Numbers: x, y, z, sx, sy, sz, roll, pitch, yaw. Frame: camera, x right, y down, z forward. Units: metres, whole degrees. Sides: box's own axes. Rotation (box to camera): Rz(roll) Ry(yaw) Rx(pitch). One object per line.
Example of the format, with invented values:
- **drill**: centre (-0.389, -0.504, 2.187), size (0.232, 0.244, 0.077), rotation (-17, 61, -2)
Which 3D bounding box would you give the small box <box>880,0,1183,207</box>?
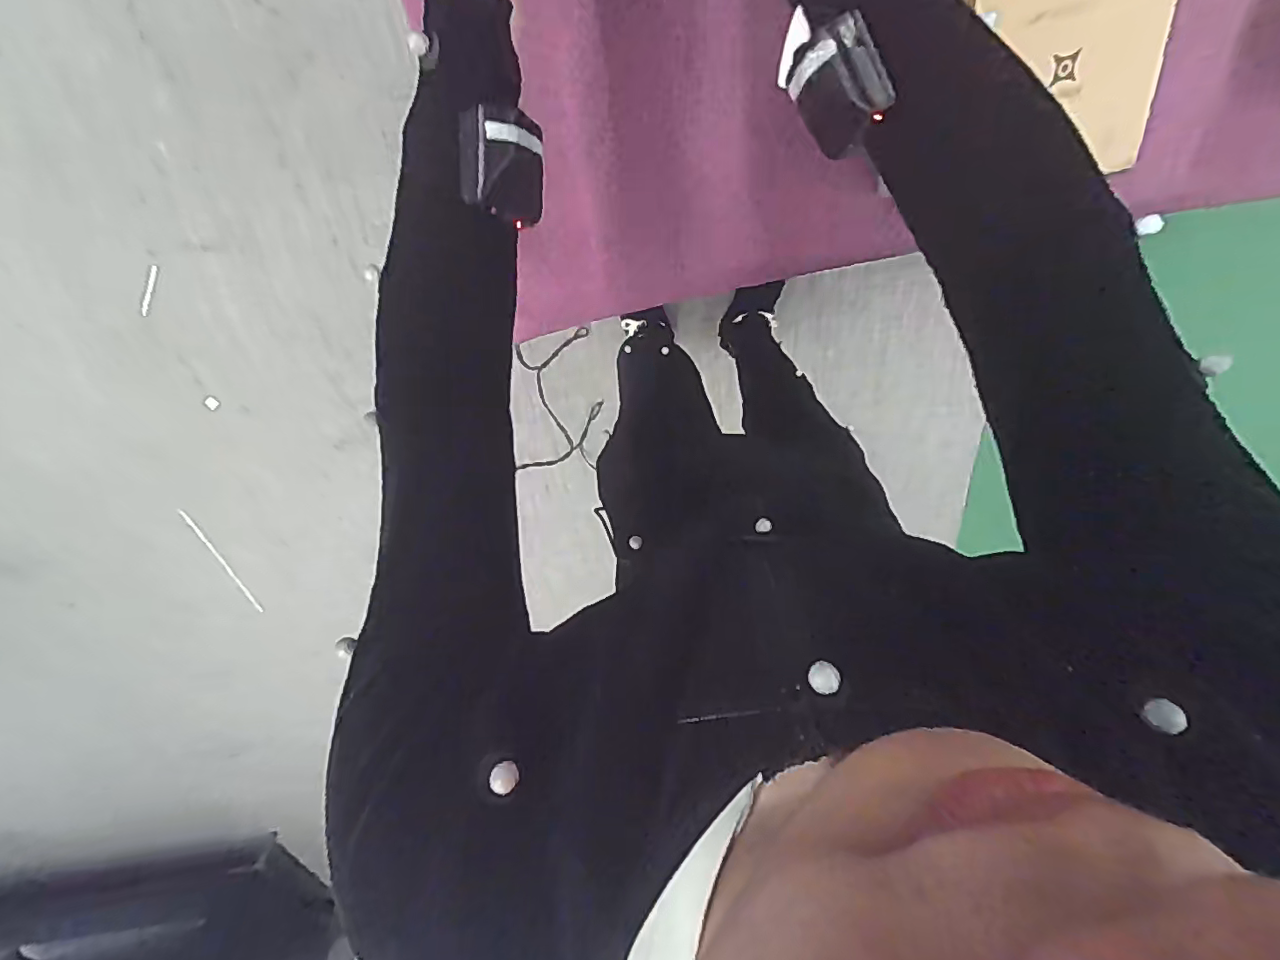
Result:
- **small box**: centre (0.344, -0.379, 0.509), size (0.168, 0.176, 0.179), rotation (-12, 122, 4)
